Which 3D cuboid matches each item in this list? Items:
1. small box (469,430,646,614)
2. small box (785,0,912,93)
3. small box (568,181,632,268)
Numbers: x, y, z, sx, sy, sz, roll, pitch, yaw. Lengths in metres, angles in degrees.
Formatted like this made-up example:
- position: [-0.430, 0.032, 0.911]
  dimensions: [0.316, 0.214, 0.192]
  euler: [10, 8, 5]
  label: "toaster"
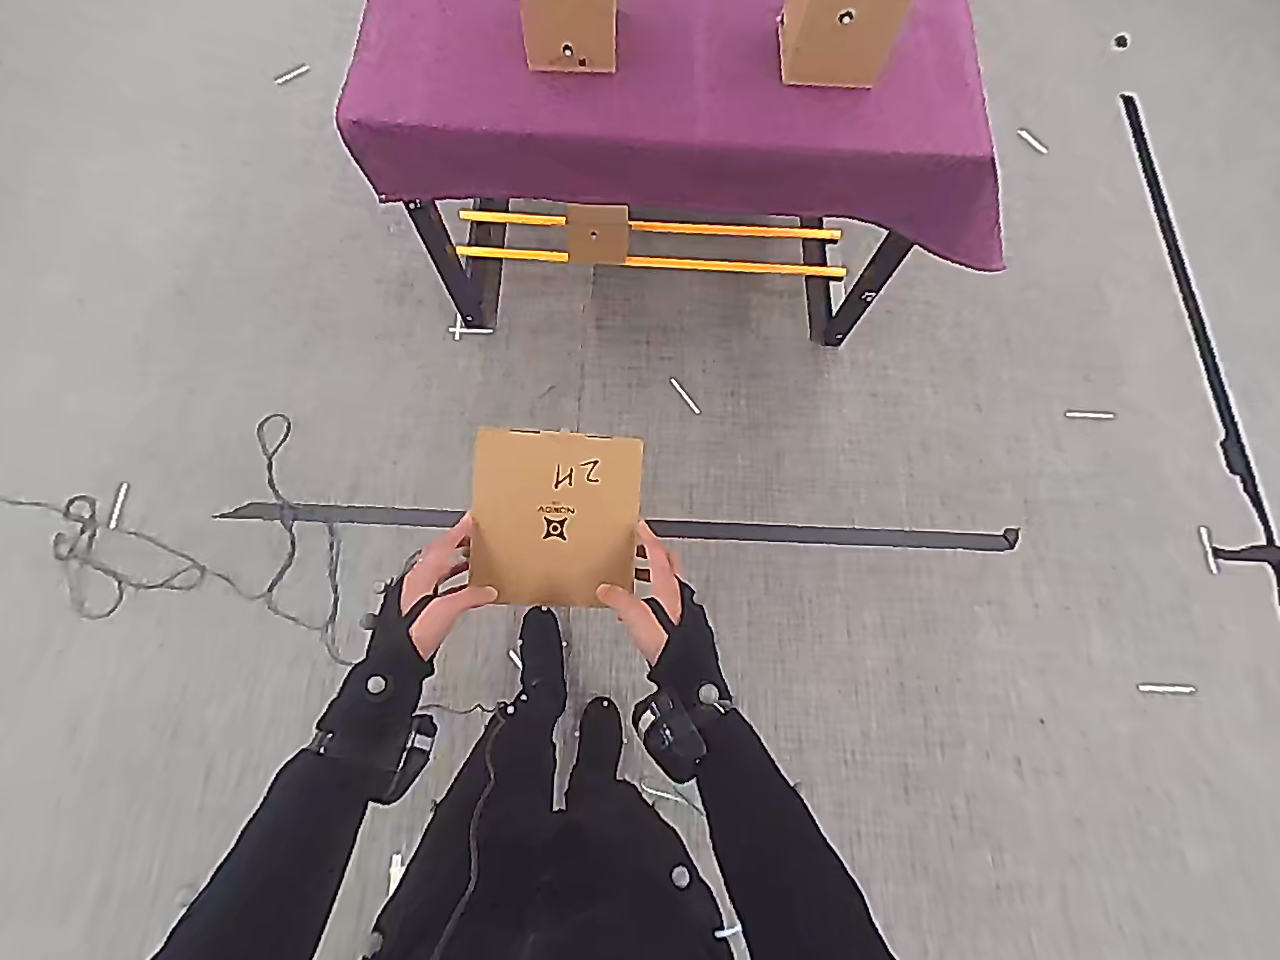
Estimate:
- position: [-0.089, 0.043, 0.619]
  dimensions: [0.168, 0.176, 0.179]
  euler: [4, 89, -7]
  label: "small box"
- position: [0.371, -0.853, 0.995]
  dimensions: [0.179, 0.176, 0.168]
  euler: [2, 74, -2]
  label: "small box"
- position: [-0.114, -0.746, 1.593]
  dimensions: [0.179, 0.176, 0.168]
  euler: [1, 74, -2]
  label: "small box"
